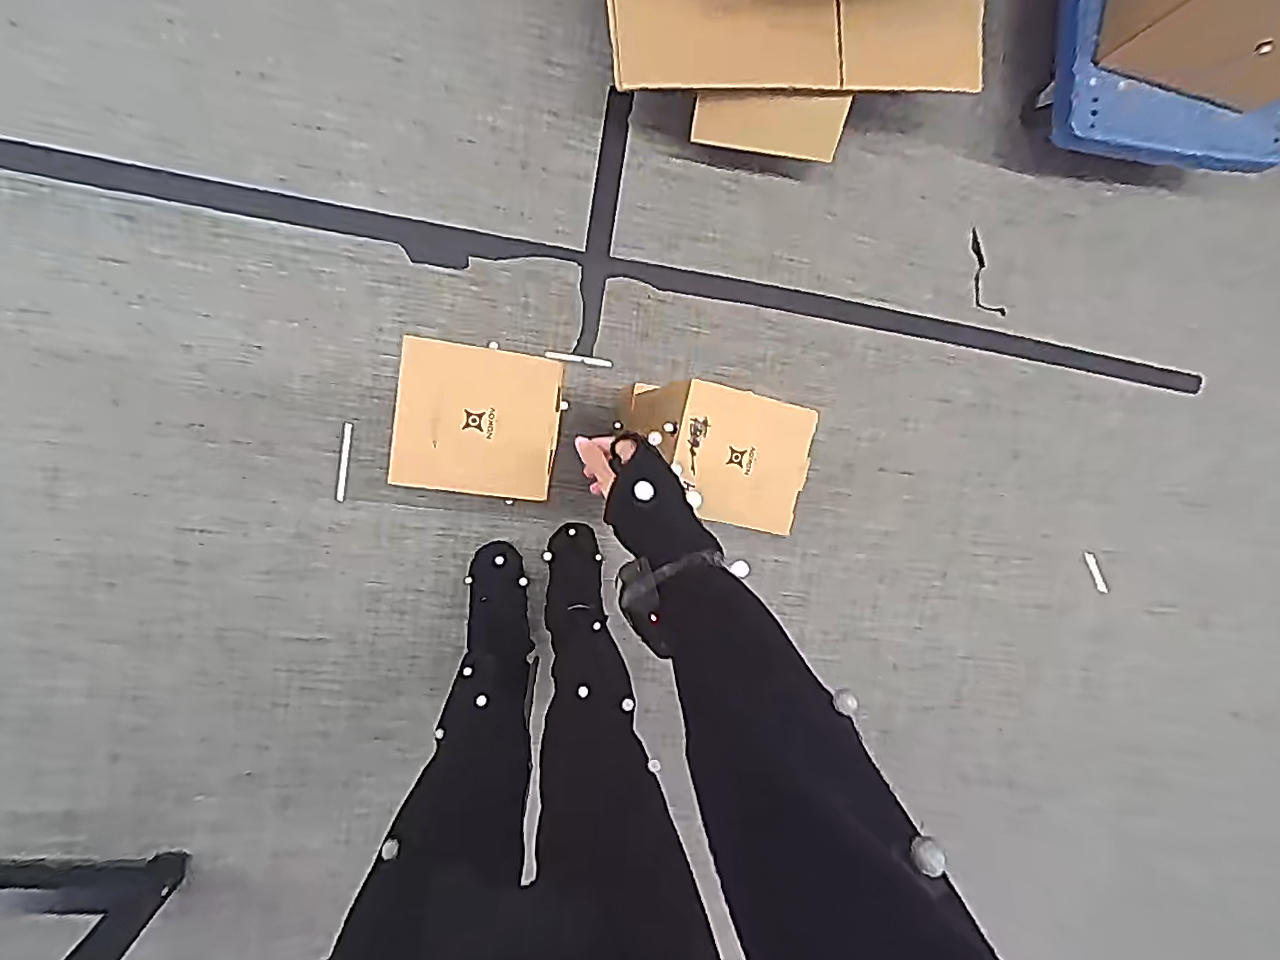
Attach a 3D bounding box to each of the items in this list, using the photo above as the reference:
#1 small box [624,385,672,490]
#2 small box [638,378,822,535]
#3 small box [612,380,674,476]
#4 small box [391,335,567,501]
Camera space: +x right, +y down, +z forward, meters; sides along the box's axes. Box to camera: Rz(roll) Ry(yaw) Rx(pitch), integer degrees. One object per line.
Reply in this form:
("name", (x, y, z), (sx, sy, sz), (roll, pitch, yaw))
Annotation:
("small box", (0.079, -0.056, 0.900), (0.179, 0.176, 0.168), (9, 95, -13))
("small box", (0.112, -0.036, 0.741), (0.179, 0.176, 0.168), (12, 94, -14))
("small box", (0.044, -0.092, 1.058), (0.168, 0.176, 0.179), (7, 94, -13))
("small box", (-0.192, -0.072, 0.677), (0.179, 0.176, 0.168), (6, 93, -12))
